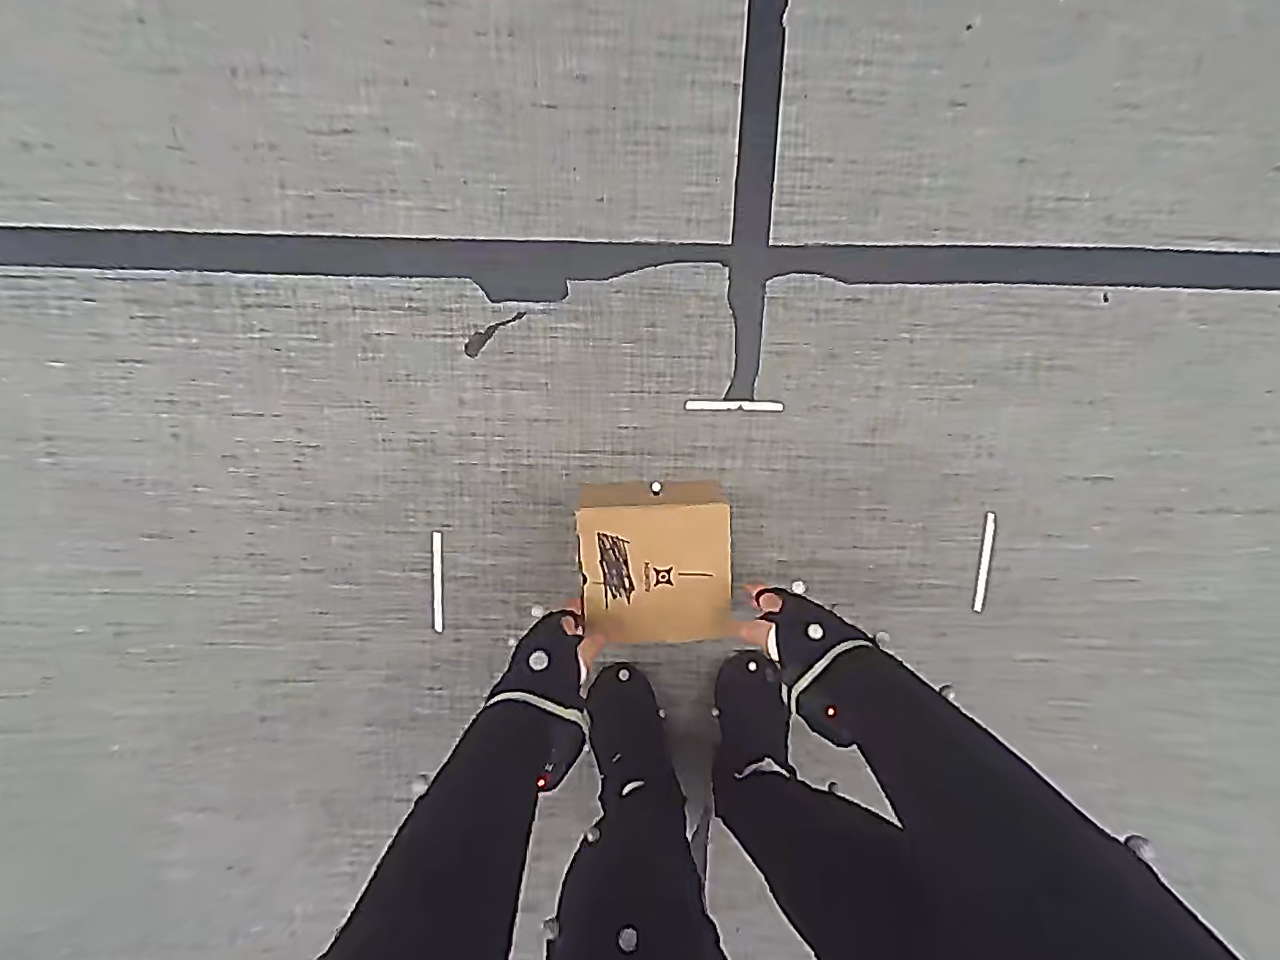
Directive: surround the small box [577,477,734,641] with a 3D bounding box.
[{"bbox_3d":[0.018,0.091,0.690,0.179,0.176,0.168,-3,100,-2],"label":"small box"}]
